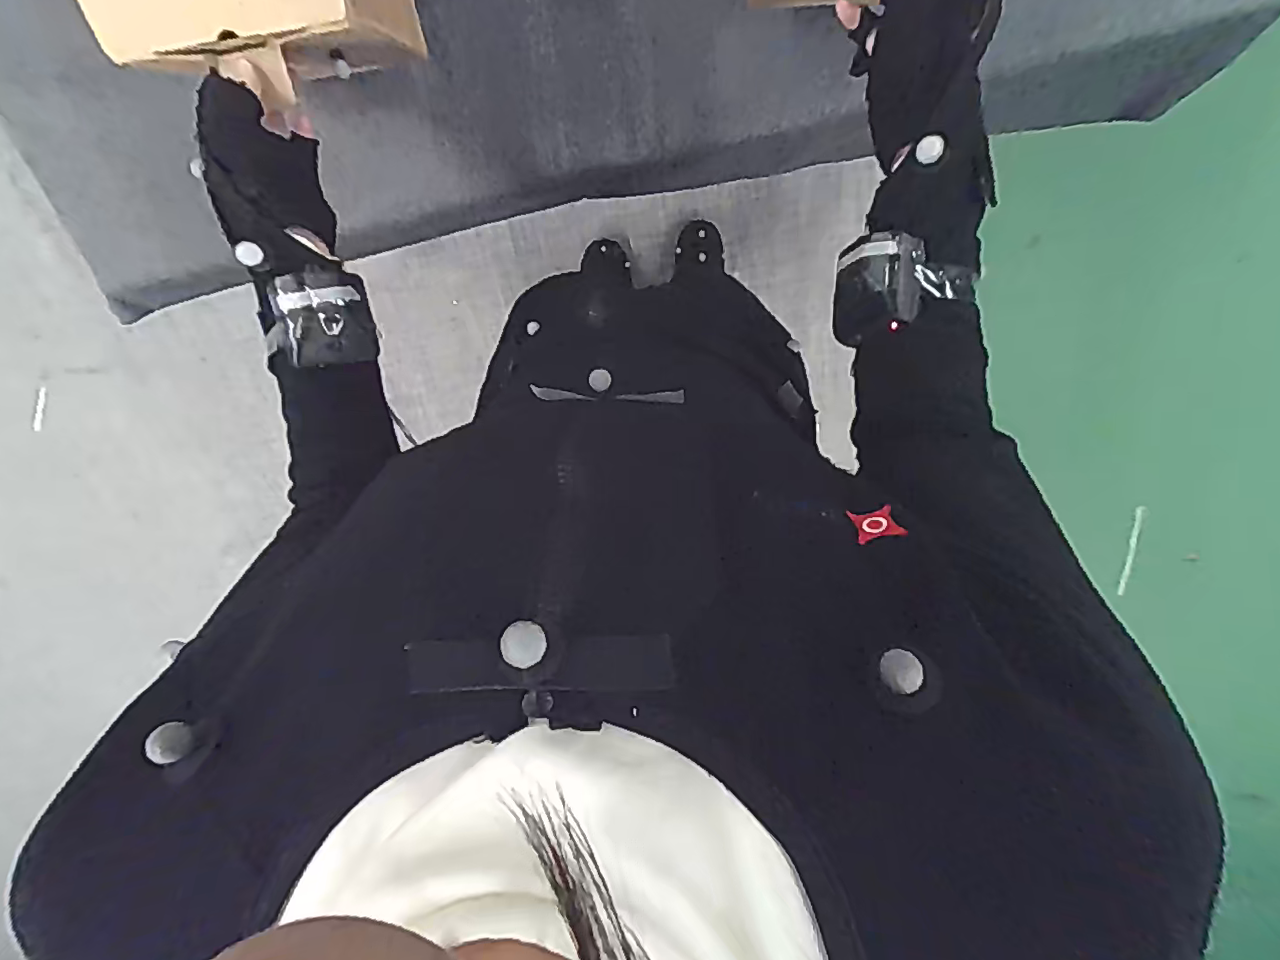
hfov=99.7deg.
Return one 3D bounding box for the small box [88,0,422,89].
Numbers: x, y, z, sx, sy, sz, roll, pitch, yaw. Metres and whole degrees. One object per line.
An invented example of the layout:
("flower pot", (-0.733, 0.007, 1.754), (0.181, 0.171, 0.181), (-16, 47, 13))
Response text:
("small box", (-0.283, -0.401, 0.388), (0.168, 0.176, 0.179), (-9, 121, 3))
